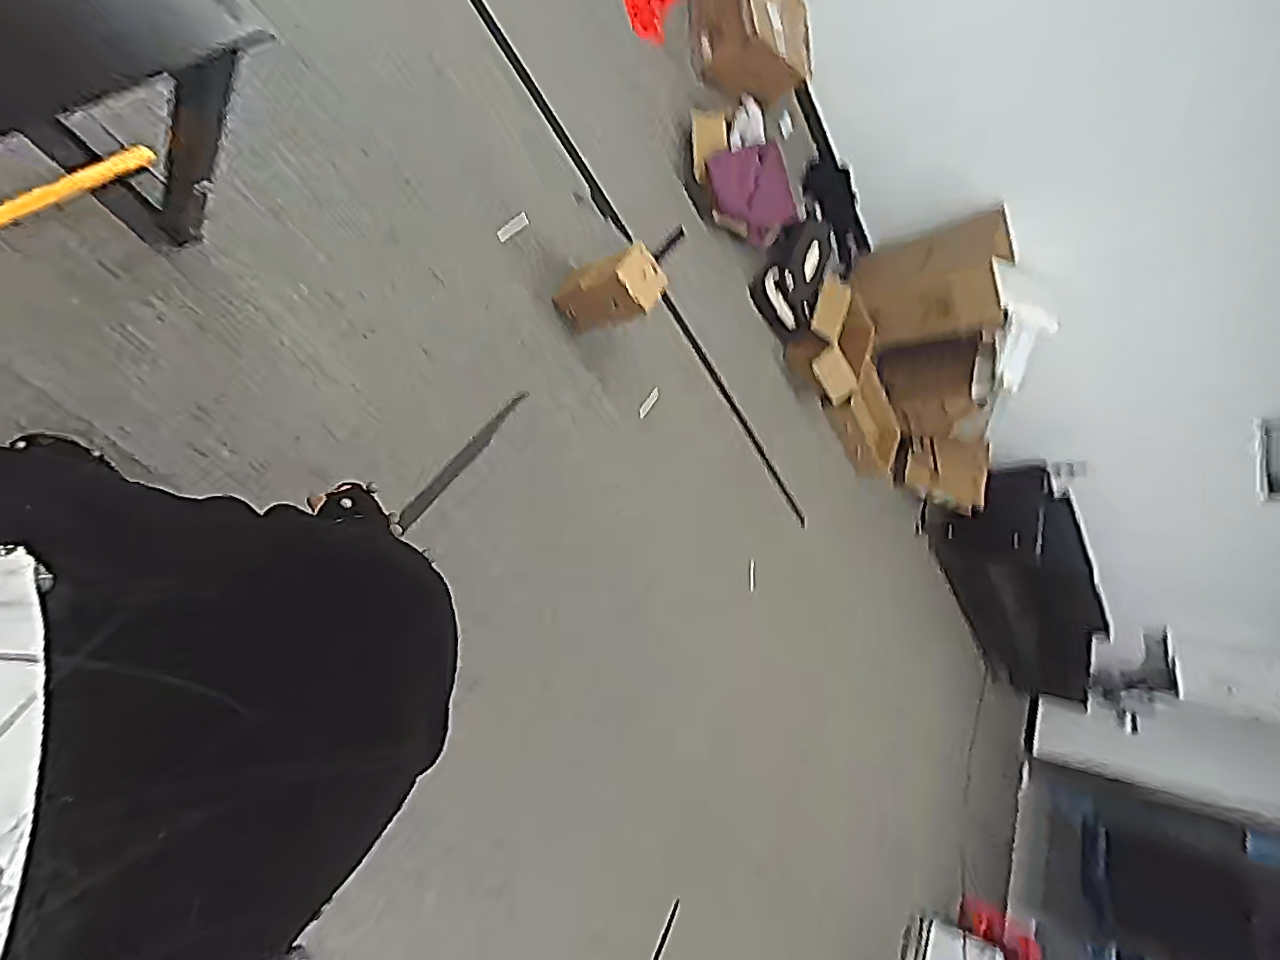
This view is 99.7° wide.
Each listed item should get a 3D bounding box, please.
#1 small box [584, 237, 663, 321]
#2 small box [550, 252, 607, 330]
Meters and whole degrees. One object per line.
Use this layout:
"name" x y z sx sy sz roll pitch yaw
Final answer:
"small box" -0.061 -0.653 1.781 0.168 0.176 0.179 44 59 -31
"small box" -0.183 -0.657 1.892 0.168 0.176 0.179 45 59 -31
